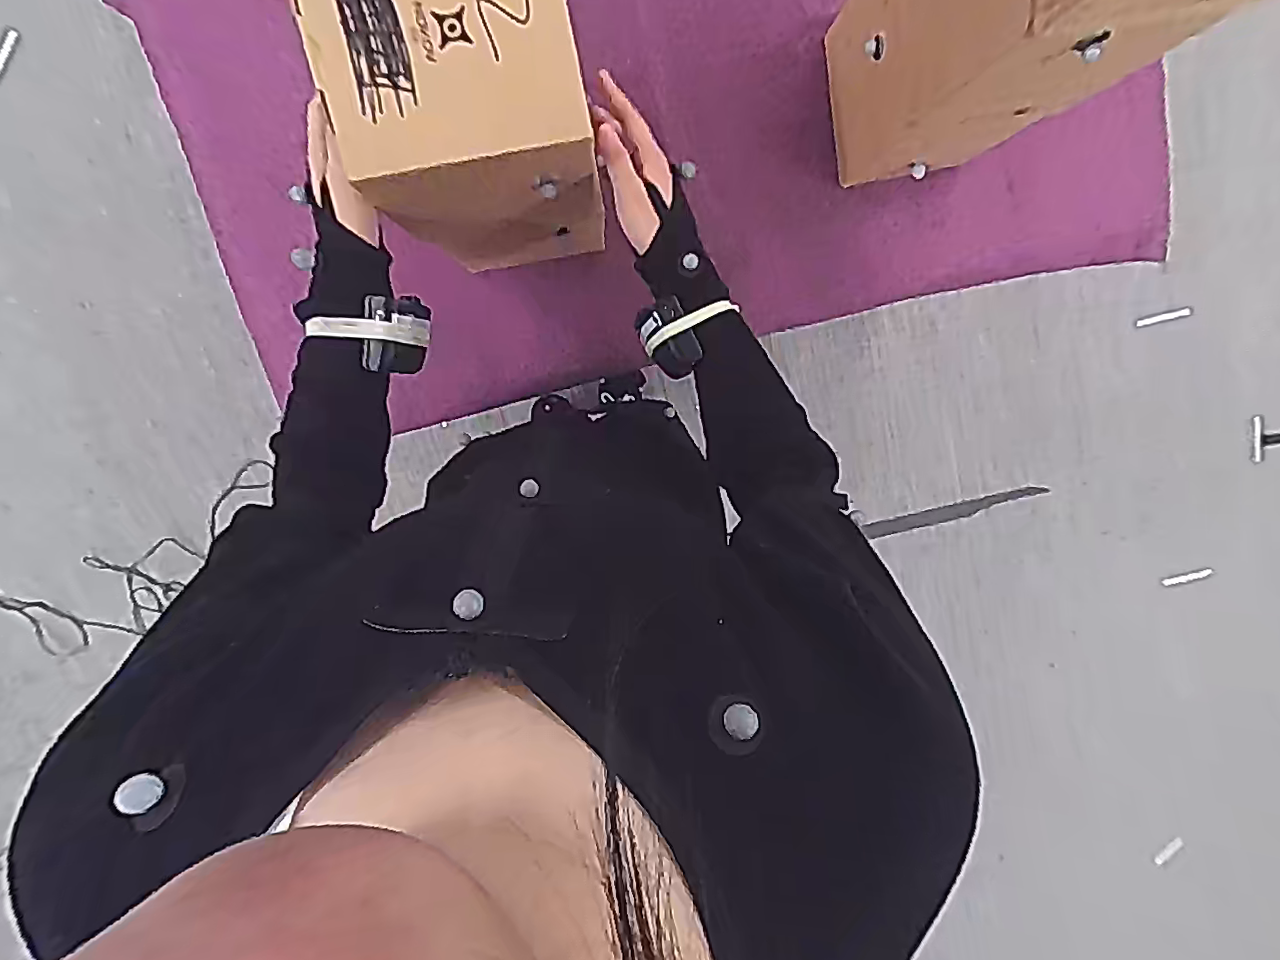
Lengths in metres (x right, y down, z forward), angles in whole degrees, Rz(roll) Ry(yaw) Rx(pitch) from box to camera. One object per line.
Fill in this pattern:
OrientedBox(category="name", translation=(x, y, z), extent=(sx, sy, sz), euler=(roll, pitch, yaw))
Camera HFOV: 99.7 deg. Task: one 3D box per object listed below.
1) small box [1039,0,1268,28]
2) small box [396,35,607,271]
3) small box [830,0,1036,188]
OrientedBox(category="small box", translation=(0.347, -0.383, 0.286), extent=(0.168, 0.176, 0.179), euler=(-9, 101, -1))
OrientedBox(category="small box", translation=(-0.136, -0.343, 0.601), extent=(0.179, 0.176, 0.168), euler=(-10, 101, -1))
OrientedBox(category="small box", translation=(0.327, -0.457, 0.604), extent=(0.168, 0.176, 0.179), euler=(-11, 102, 0))
